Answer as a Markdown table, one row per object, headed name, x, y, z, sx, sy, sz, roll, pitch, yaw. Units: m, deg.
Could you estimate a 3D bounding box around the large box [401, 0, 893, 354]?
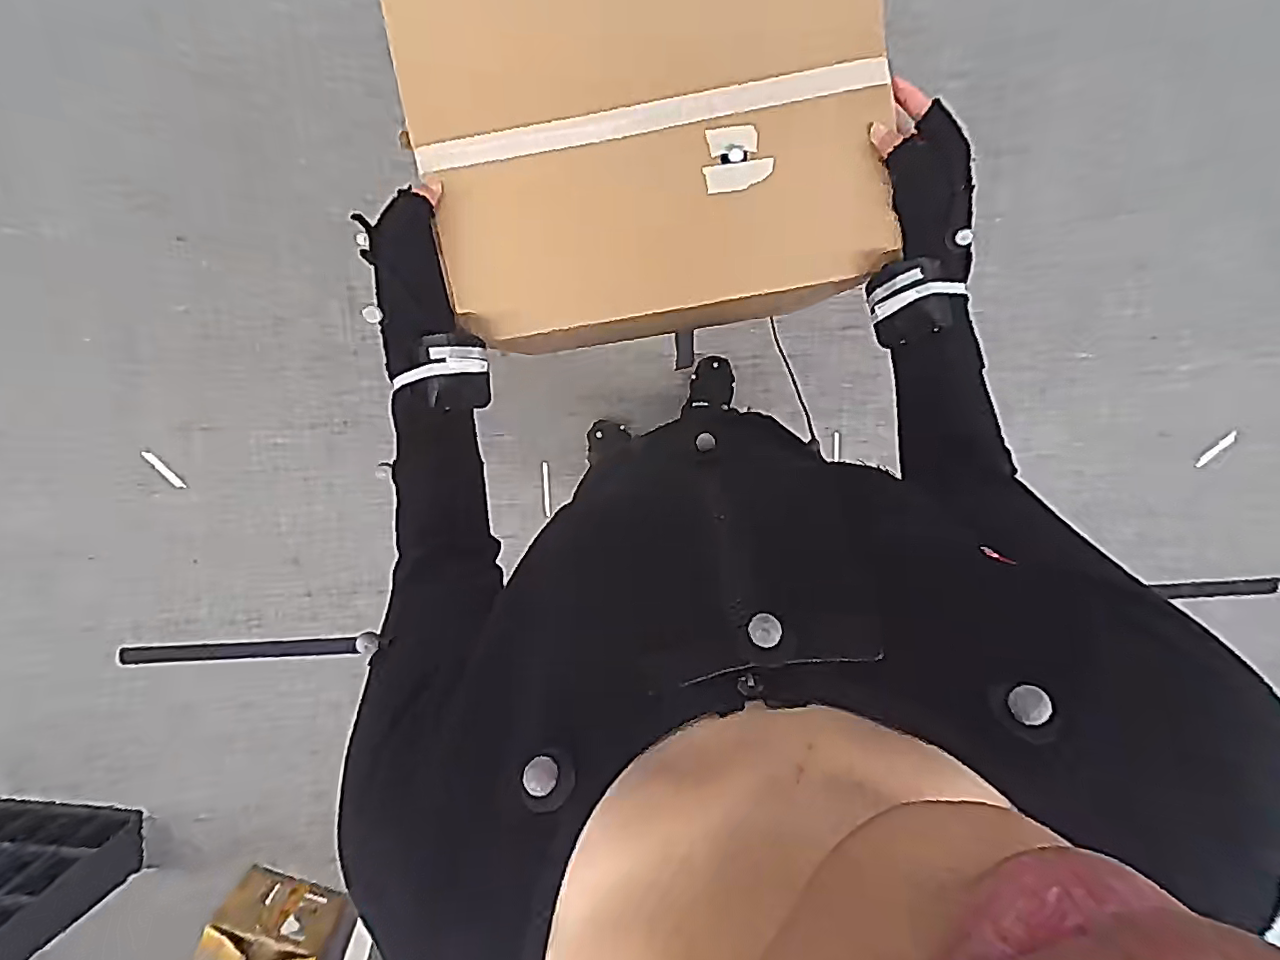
| name | x | y | z | sx | sy | sz | roll | pitch | yaw |
| --- | --- | --- | --- | --- | --- | --- | --- | --- | --- |
| large box | 0.012 | -0.340 | 0.623 | 0.408 | 0.320 | 0.320 | -9 | 101 | 1 |
